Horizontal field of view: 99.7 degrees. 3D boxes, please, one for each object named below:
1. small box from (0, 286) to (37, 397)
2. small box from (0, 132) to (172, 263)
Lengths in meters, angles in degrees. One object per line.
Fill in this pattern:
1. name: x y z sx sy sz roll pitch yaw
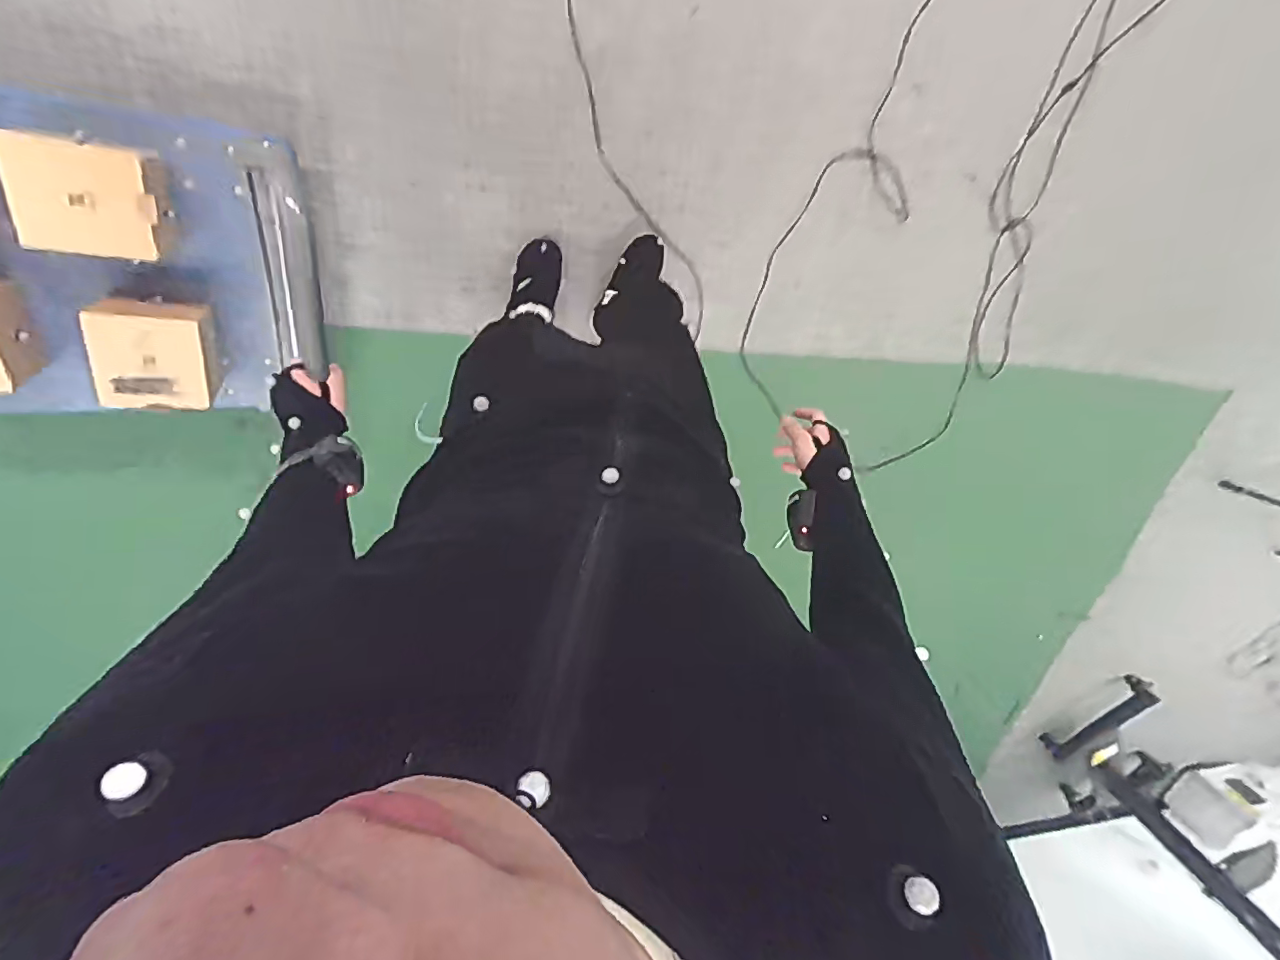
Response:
1. small box: -1.202 -0.240 0.928 0.179 0.176 0.168 -9 121 -26
2. small box: -0.951 -0.485 0.937 0.179 0.176 0.168 -4 119 -30
